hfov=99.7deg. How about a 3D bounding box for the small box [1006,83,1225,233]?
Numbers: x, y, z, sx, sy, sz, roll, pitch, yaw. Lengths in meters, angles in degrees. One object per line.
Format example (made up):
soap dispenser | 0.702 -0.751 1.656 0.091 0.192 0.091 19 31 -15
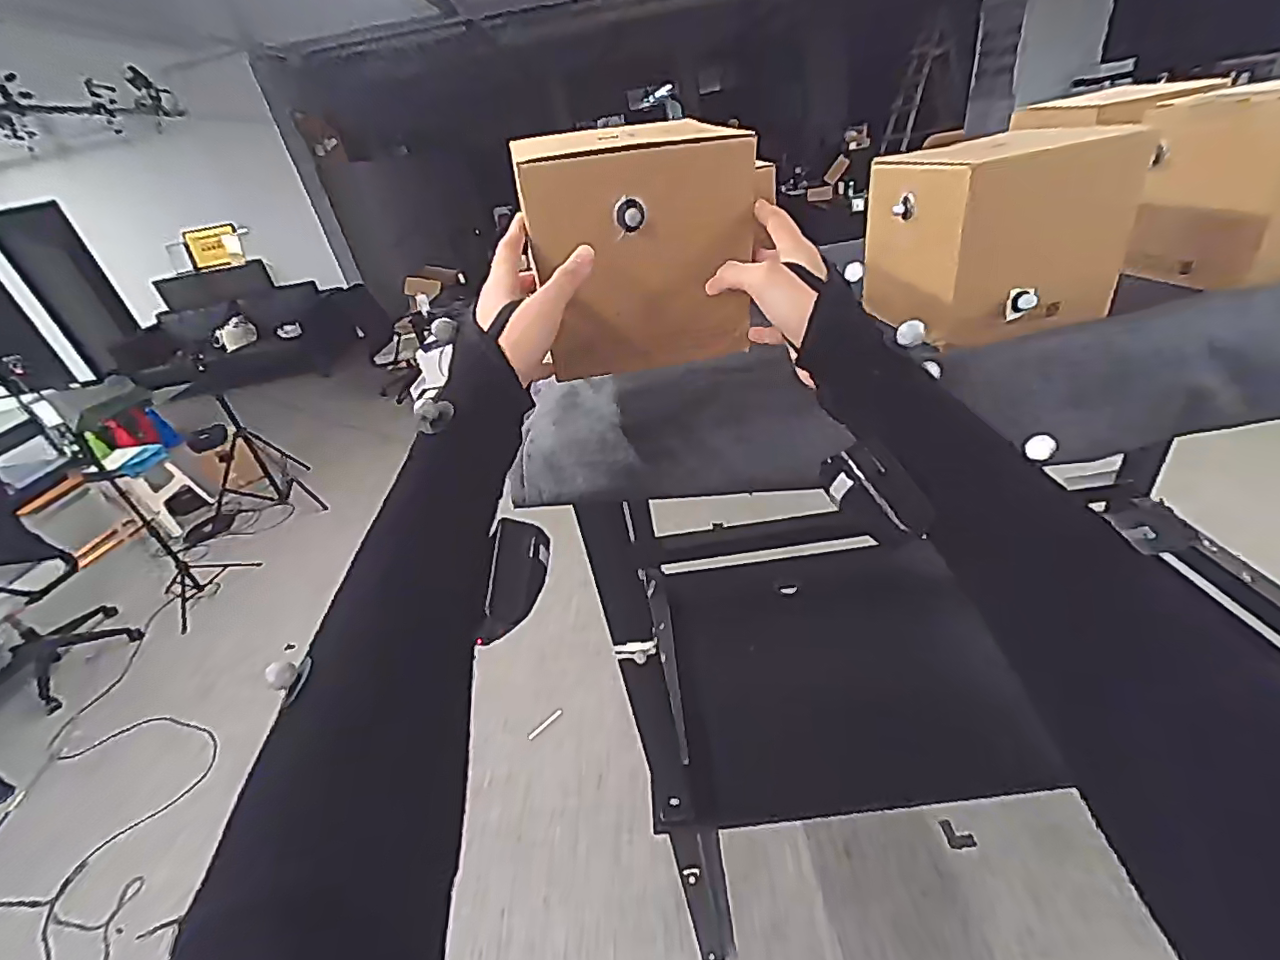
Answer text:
small box | 0.662 -0.457 0.791 0.168 0.176 0.179 -10 33 2

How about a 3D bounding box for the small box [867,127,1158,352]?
small box | 0.350 -0.245 0.555 0.168 0.176 0.179 -12 31 -1

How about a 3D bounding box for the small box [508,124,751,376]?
small box | -0.012 -0.206 0.484 0.179 0.176 0.168 -11 38 -7

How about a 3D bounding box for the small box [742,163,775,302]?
small box | 0.092 -0.361 0.805 0.179 0.176 0.168 -9 33 0
